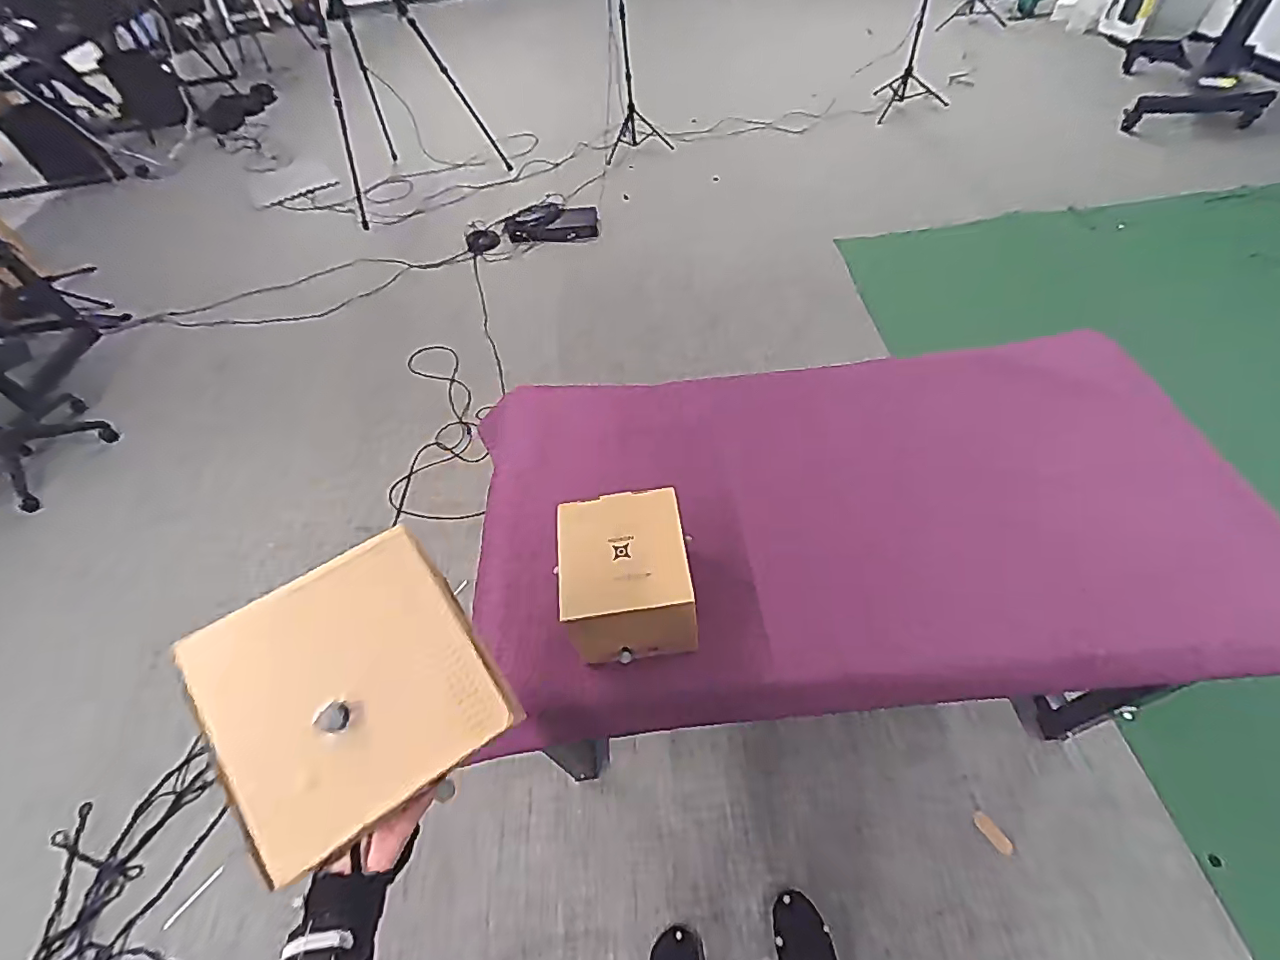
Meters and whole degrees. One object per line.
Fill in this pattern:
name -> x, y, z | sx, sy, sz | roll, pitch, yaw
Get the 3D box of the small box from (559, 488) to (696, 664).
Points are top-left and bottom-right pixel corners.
small box -> -0.016, 0.137, 0.757 | 0.168, 0.176, 0.179 | -8, 52, 1

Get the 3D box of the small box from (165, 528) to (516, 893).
small box -> -0.213, 0.169, 0.440 | 0.176, 0.168, 0.179 | -32, 76, -21
